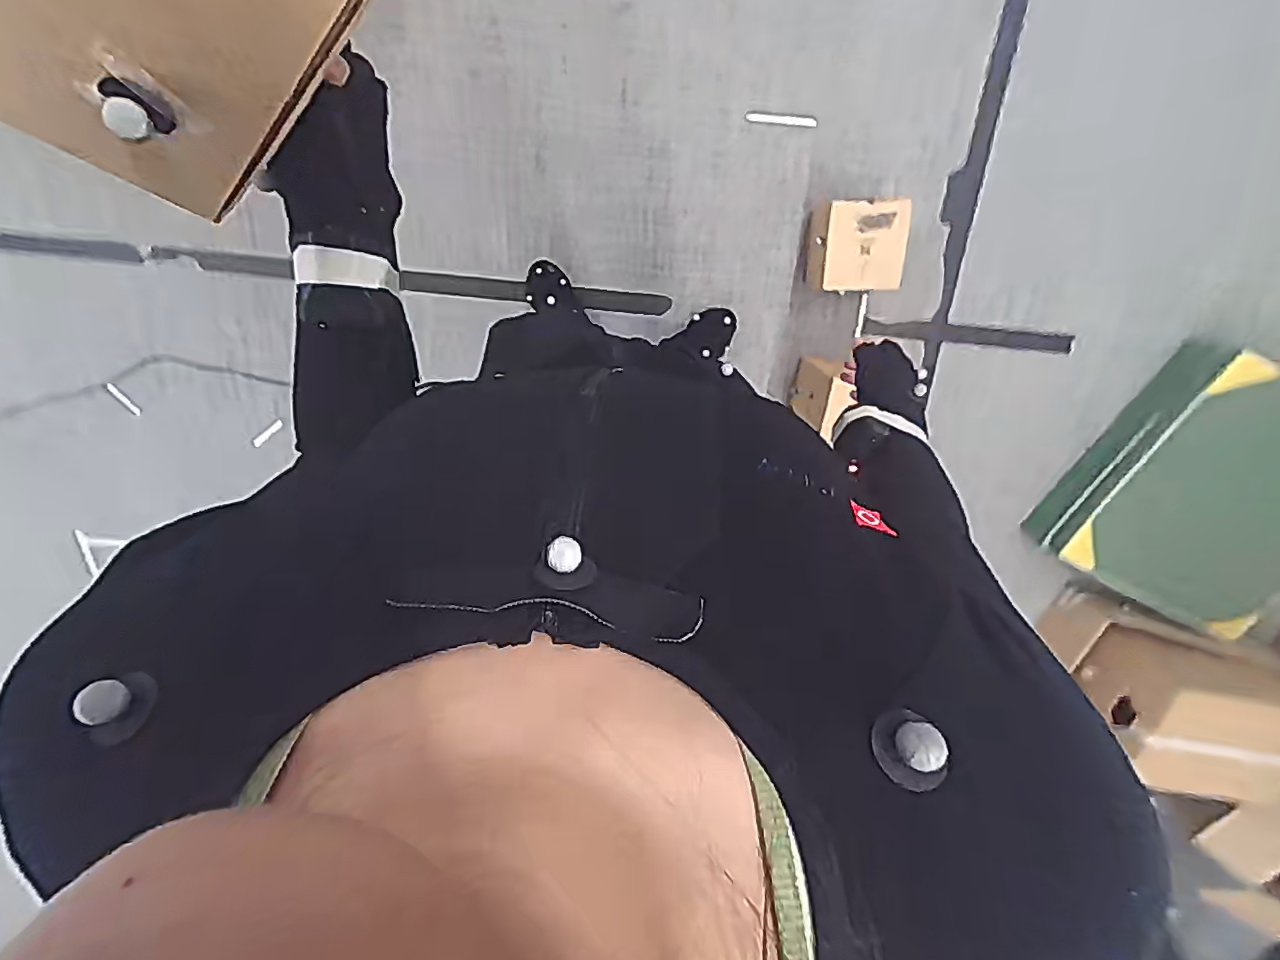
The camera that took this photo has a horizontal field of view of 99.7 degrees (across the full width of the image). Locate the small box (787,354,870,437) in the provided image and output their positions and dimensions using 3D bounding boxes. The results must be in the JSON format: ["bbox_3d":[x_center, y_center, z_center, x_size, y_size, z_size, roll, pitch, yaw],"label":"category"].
[{"bbox_3d":[0.478,-0.204,1.357,0.168,0.176,0.179,8,113,-2],"label":"small box"}]

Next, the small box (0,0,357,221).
[{"bbox_3d":[-0.206,-0.244,0.189,0.179,0.168,0.176,-22,155,34],"label":"small box"}]

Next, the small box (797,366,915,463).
[{"bbox_3d":[0.468,-0.152,1.203,0.179,0.176,0.168,9,111,0],"label":"small box"}]

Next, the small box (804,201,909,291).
[{"bbox_3d":[0.481,-0.526,1.226,0.168,0.176,0.179,1,112,2],"label":"small box"}]
